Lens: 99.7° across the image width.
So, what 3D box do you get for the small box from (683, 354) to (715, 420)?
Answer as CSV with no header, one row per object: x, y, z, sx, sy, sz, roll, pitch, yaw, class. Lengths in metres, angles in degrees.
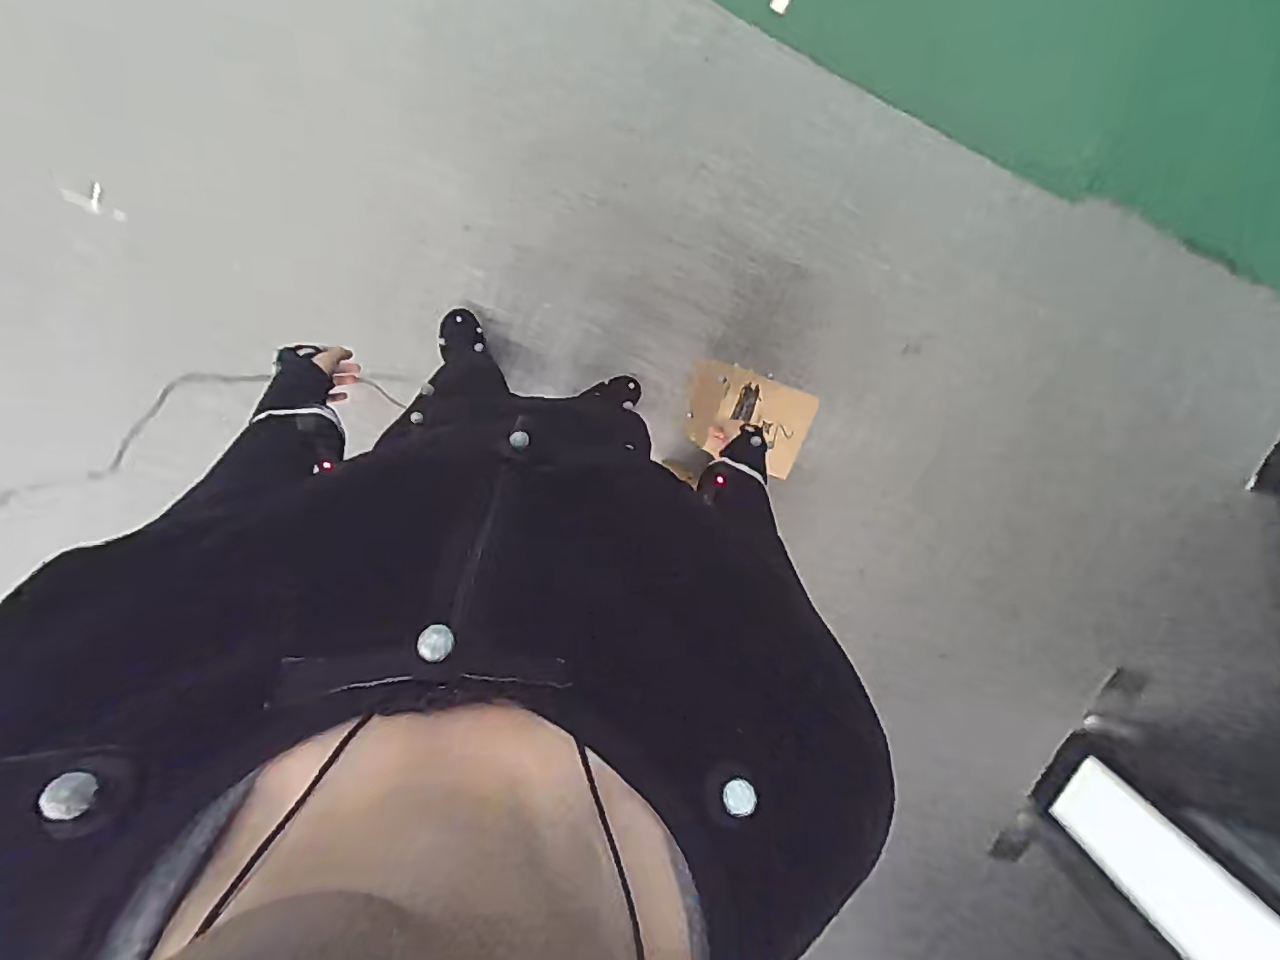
0.217,-0.215,1.396,0.168,0.176,0.179,19,102,-7,small box

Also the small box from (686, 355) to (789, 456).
0.212,-0.175,1.237,0.168,0.176,0.179,20,102,-7,small box
